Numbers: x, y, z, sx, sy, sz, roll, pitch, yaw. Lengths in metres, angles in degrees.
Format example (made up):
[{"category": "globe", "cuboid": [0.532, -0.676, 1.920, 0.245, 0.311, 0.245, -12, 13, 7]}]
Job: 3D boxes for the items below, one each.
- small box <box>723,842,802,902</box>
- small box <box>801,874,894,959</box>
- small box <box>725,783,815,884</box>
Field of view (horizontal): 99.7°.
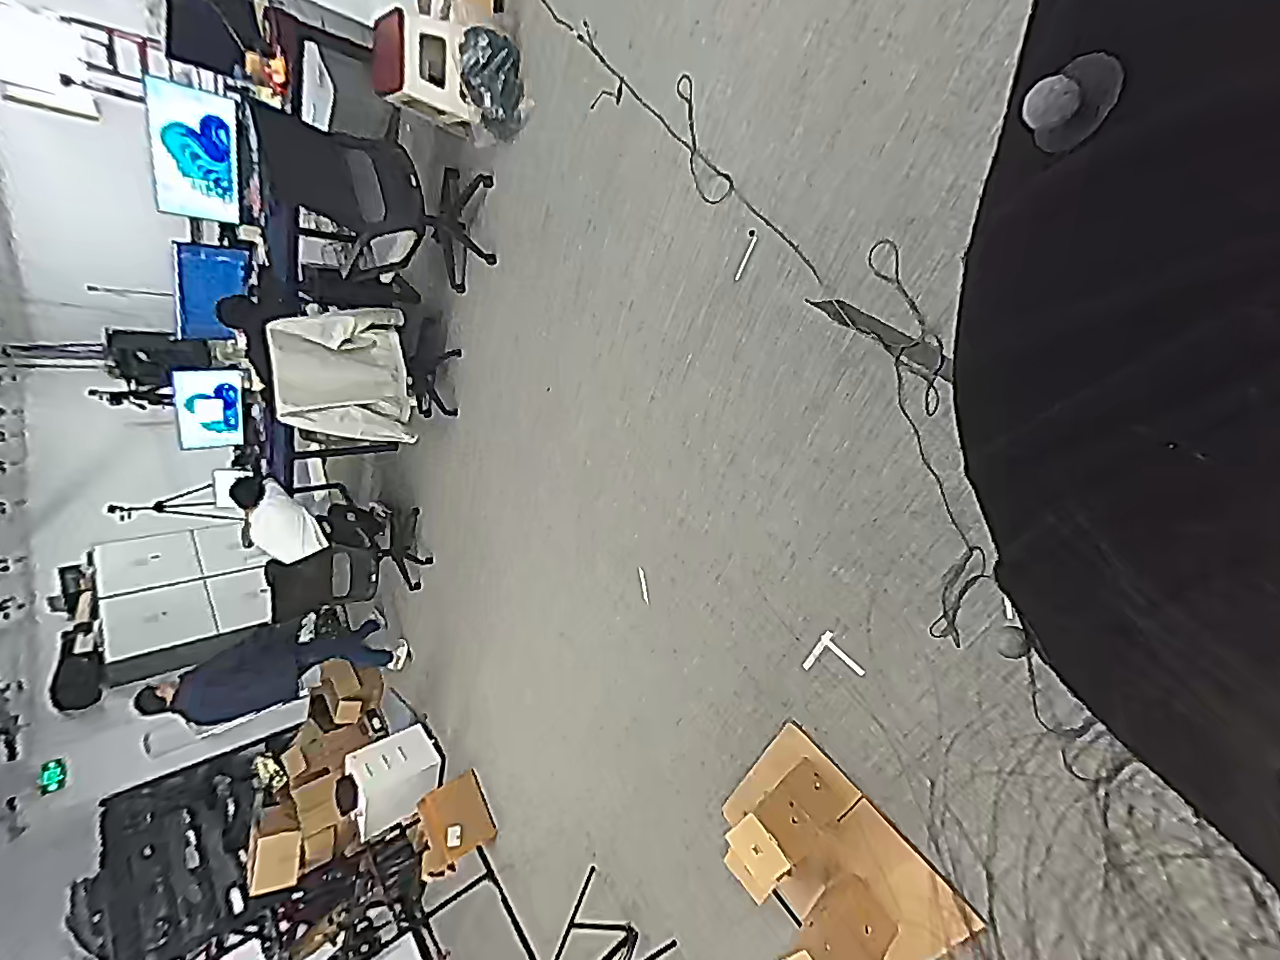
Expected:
[{"category": "small box", "cuboid": [0.428, 1.308, 1.894, 0.179, 0.176, 0.168, 39, 125, 35]}, {"category": "small box", "cuboid": [0.647, 1.380, 1.678, 0.179, 0.176, 0.168, 51, 129, 25]}, {"category": "small box", "cuboid": [0.398, 1.067, 1.640, 0.168, 0.176, 0.179, 47, 126, 30]}]
